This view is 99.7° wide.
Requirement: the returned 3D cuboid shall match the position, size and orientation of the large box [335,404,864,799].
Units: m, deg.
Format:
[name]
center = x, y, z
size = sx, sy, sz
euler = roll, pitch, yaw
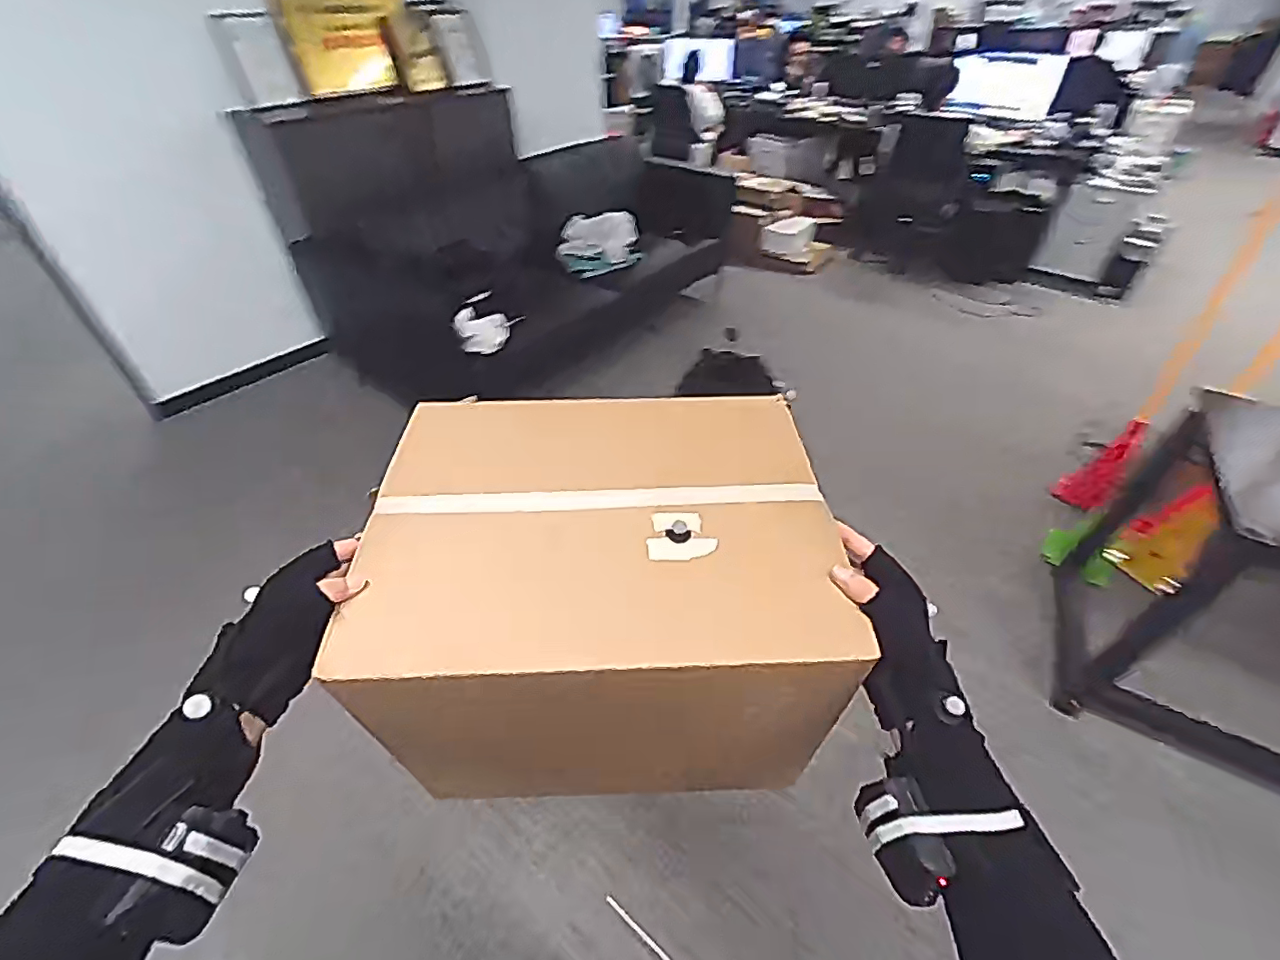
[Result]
[large box]
center = -0.038, 0.133, 0.608
size = 0.408, 0.320, 0.320
euler = -2, 46, -3
